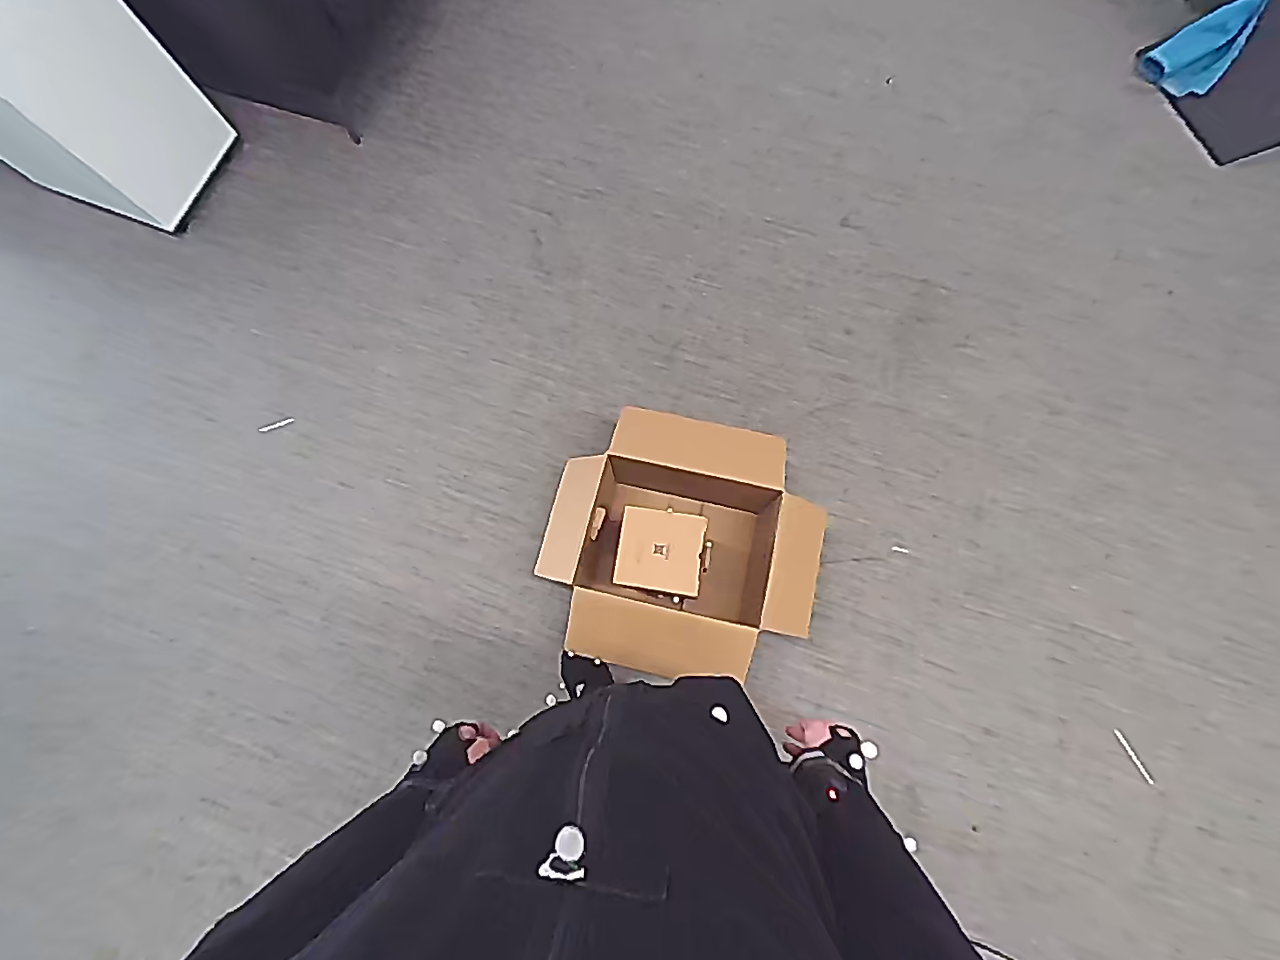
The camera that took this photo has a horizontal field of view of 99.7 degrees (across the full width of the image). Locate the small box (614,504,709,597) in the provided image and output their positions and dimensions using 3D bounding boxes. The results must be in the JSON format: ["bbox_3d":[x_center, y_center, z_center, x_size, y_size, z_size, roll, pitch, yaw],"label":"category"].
[{"bbox_3d":[0.054,0.160,1.186,0.179,0.176,0.168,8,75,9],"label":"small box"}]
